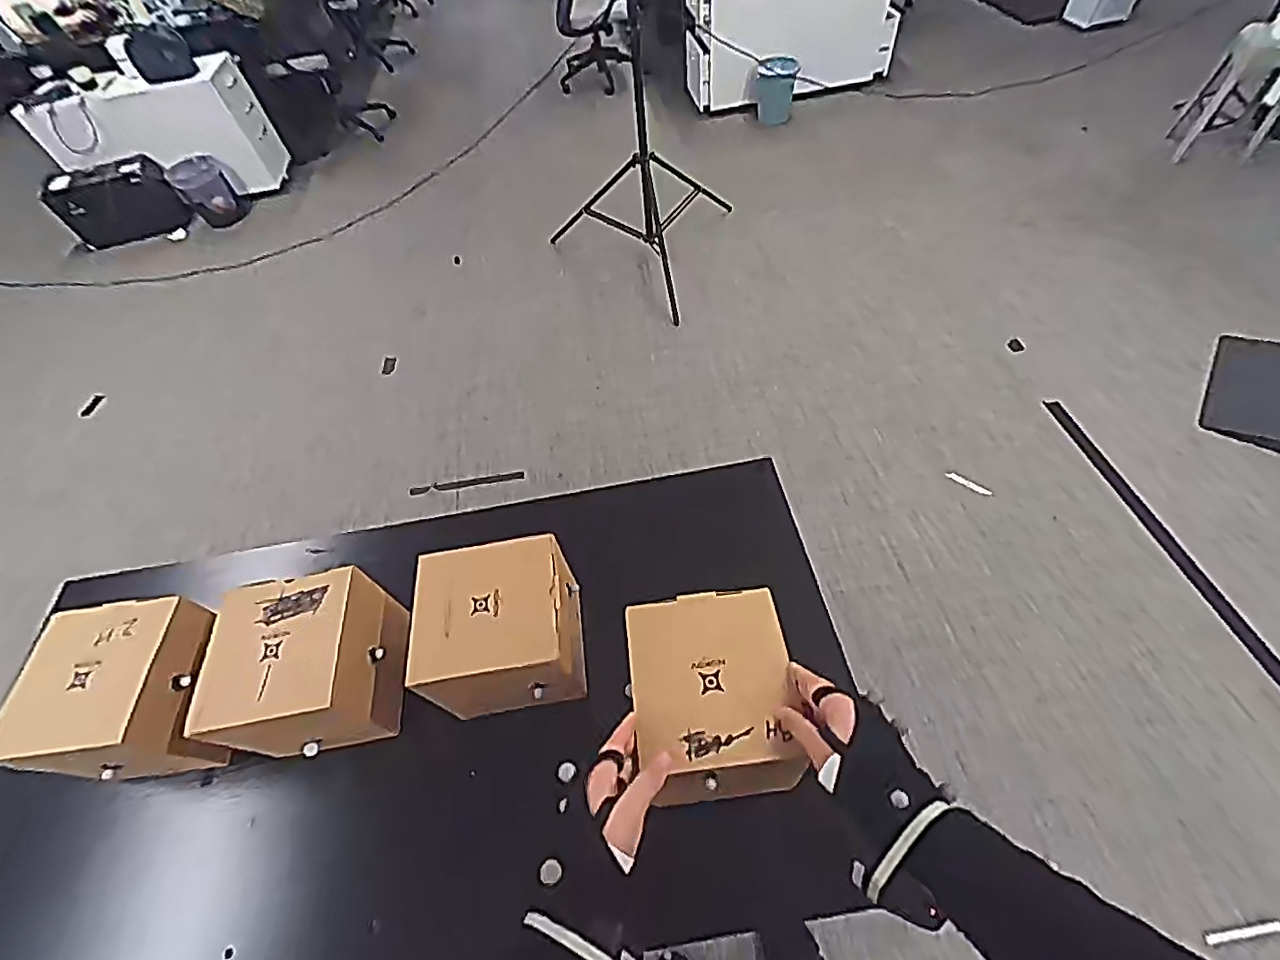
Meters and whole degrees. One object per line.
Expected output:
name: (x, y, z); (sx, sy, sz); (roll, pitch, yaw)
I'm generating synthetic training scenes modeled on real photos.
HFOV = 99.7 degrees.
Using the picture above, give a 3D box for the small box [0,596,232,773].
small box: (-0.644, 0.273, 0.705); (0.168, 0.176, 0.179); (-8, 54, 1)

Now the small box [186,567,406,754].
small box: (-0.423, 0.238, 0.703); (0.168, 0.176, 0.179); (-11, 56, -2)

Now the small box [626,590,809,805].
small box: (0.077, 0.250, 0.617); (0.168, 0.176, 0.179); (-8, 51, 1)

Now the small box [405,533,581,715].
small box: (-0.178, 0.193, 0.709); (0.179, 0.176, 0.168); (-11, 54, 0)
